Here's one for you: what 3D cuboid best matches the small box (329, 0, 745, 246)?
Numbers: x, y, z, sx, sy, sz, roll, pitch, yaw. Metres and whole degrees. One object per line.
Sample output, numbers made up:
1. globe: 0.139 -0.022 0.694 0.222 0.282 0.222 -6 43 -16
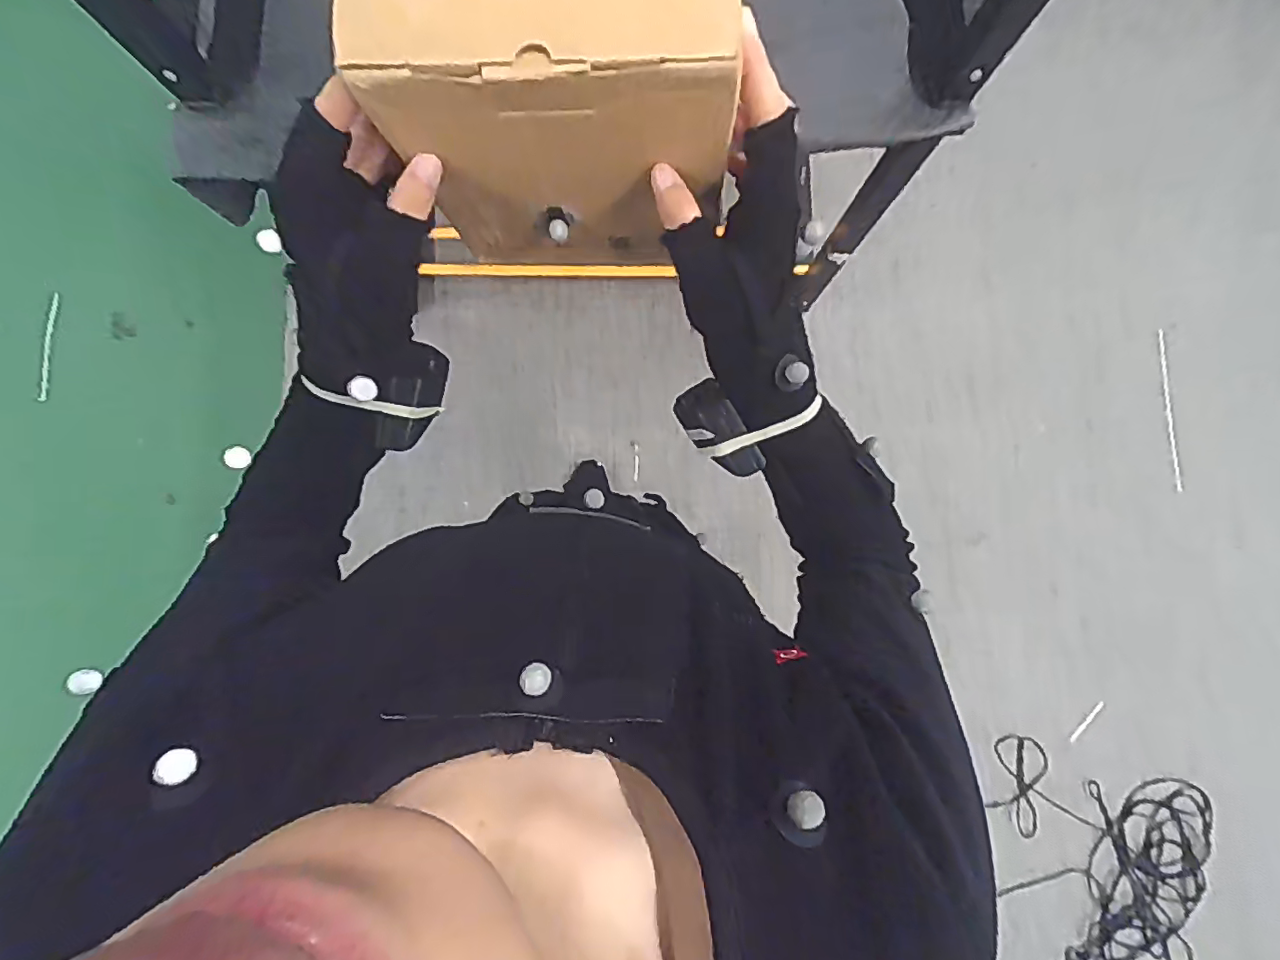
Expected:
1. small box: -0.036 -0.253 0.295 0.168 0.176 0.179 1 88 3
